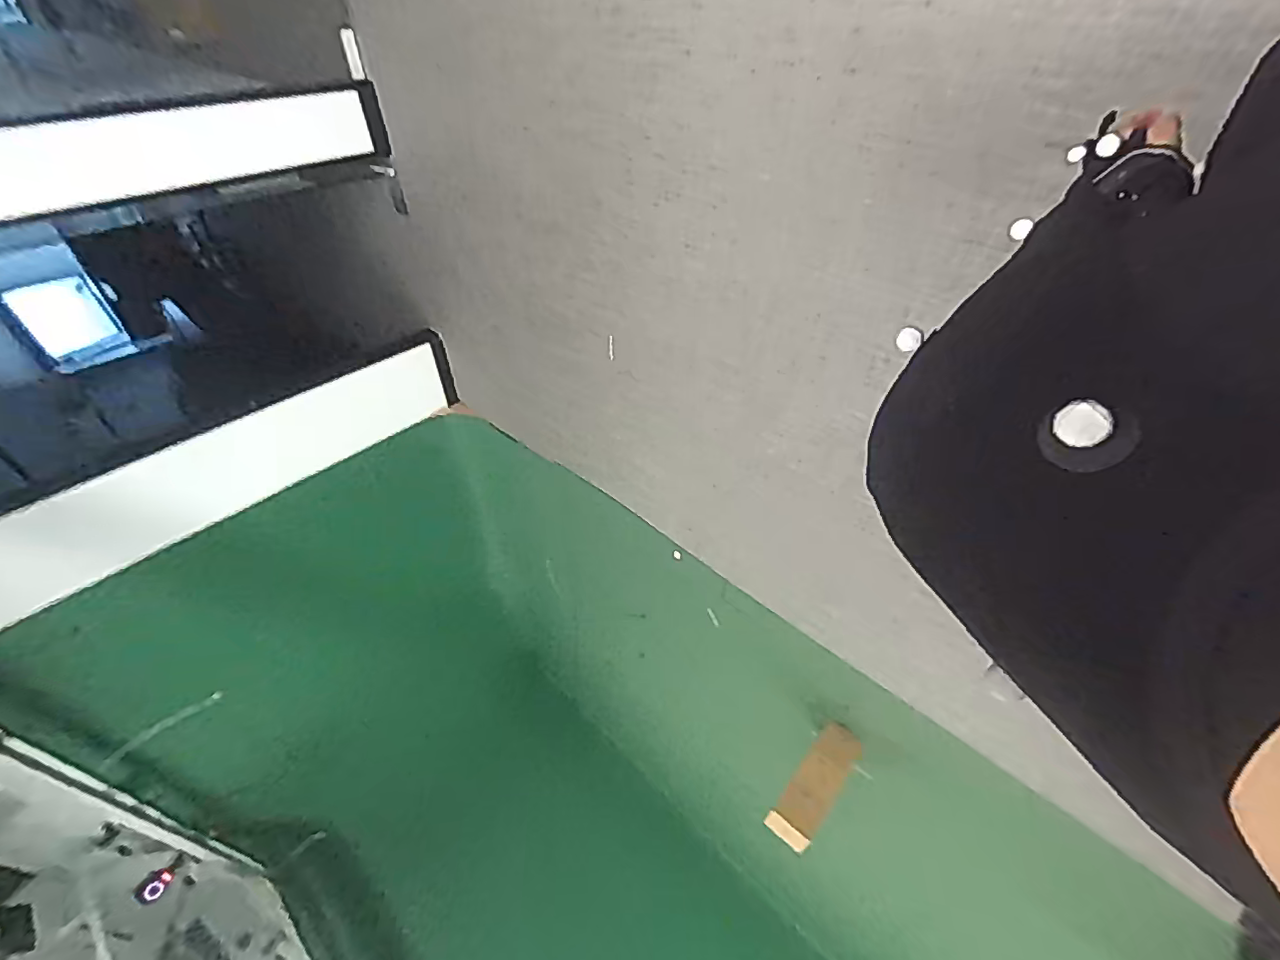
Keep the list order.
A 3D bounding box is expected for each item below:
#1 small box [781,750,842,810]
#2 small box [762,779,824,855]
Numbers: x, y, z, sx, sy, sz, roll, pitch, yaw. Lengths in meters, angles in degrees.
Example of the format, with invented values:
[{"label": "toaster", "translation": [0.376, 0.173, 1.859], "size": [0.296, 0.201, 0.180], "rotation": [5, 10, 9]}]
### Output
[{"label": "small box", "translation": [0.727, 1.281, 2.281], "size": [0.168, 0.176, 0.179], "rotation": [34, 142, 27]}, {"label": "small box", "translation": [0.621, 1.359, 2.185], "size": [0.168, 0.176, 0.179], "rotation": [31, 140, 28]}]
